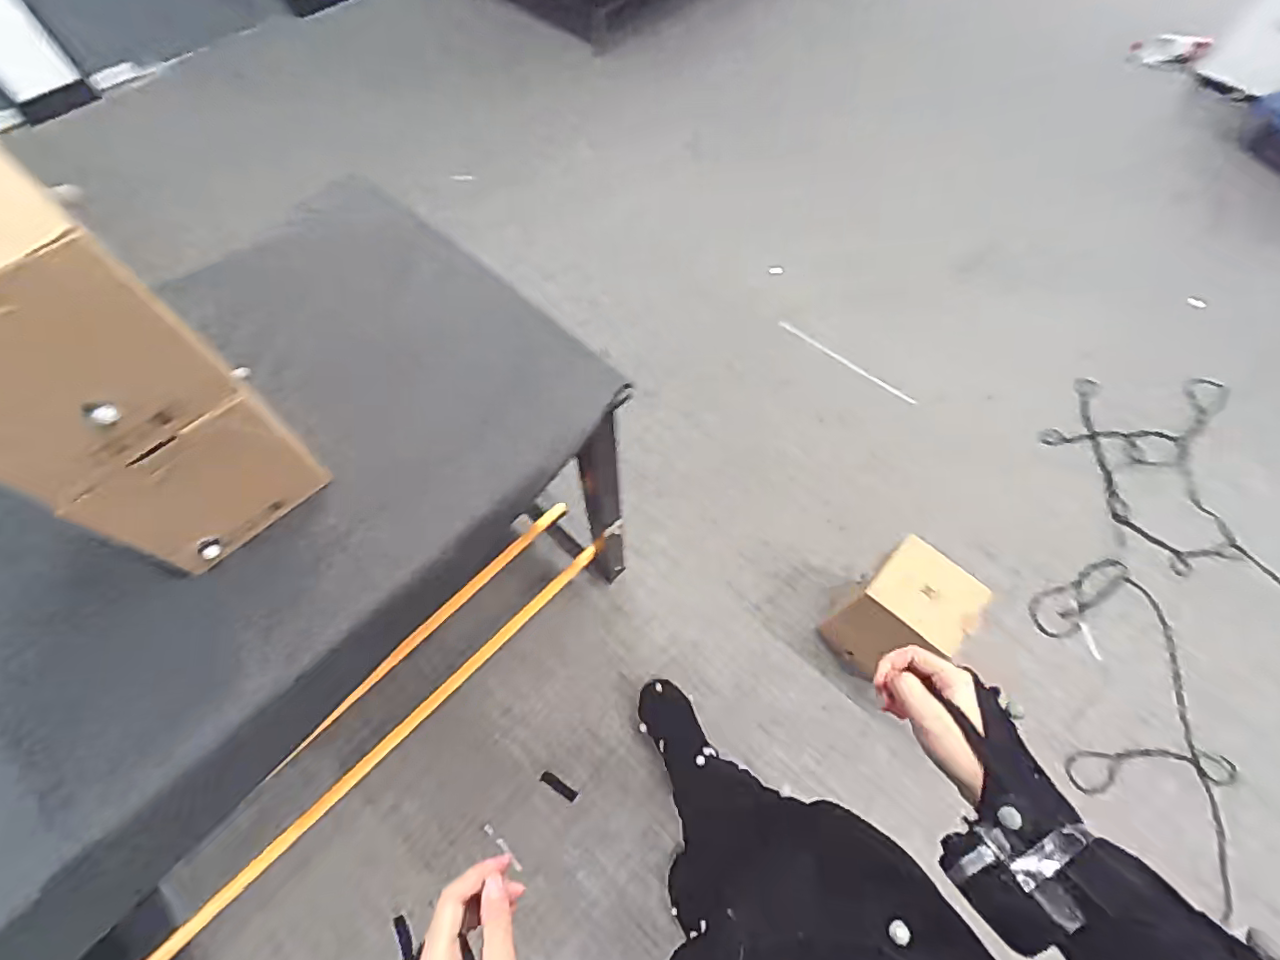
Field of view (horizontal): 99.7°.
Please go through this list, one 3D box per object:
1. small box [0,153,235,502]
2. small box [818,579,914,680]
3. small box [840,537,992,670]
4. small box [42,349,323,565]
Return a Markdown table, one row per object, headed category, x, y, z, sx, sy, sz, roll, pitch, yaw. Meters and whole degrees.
| category | x | y | z | sx | sy | sz | roll | pitch | yaw |
| --- | --- | --- | --- | --- | --- | --- | --- | --- | --- |
| small box | -0.481 | -0.113 | 0.422 | 0.179 | 0.176 | 0.168 | 38 | 69 | 18 |
| small box | 0.532 | 0.324 | 1.202 | 0.168 | 0.176 | 0.179 | -41 | 71 | -19 |
| small box | 0.528 | 0.249 | 1.057 | 0.179 | 0.176 | 0.168 | 39 | 67 | 19 |
| small box | -0.479 | -0.032 | 0.566 | 0.179 | 0.176 | 0.168 | 40 | 69 | 20 |
